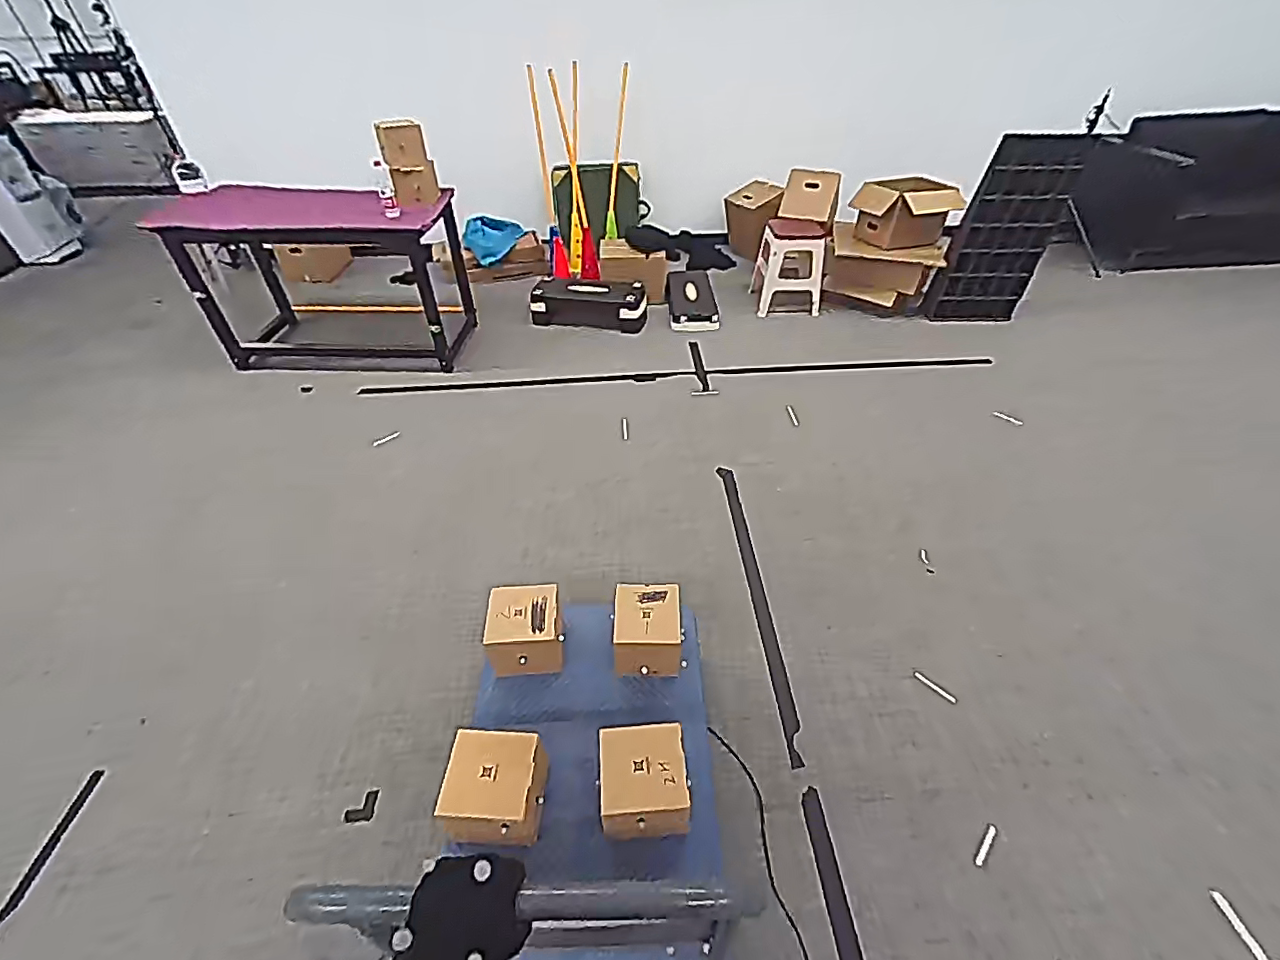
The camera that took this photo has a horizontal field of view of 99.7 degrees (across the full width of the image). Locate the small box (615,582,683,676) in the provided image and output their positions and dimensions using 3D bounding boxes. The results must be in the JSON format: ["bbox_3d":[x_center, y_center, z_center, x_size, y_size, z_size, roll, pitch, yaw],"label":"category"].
[{"bbox_3d":[0.023,0.389,1.416,0.168,0.176,0.179,1,44,1],"label":"small box"}]

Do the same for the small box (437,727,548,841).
[{"bbox_3d":[-0.301,0.643,1.142,0.179,0.176,0.168,3,42,1],"label":"small box"}]

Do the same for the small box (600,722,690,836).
[{"bbox_3d":[0.008,0.636,1.147,0.179,0.176,0.168,-3,43,-2],"label":"small box"}]
